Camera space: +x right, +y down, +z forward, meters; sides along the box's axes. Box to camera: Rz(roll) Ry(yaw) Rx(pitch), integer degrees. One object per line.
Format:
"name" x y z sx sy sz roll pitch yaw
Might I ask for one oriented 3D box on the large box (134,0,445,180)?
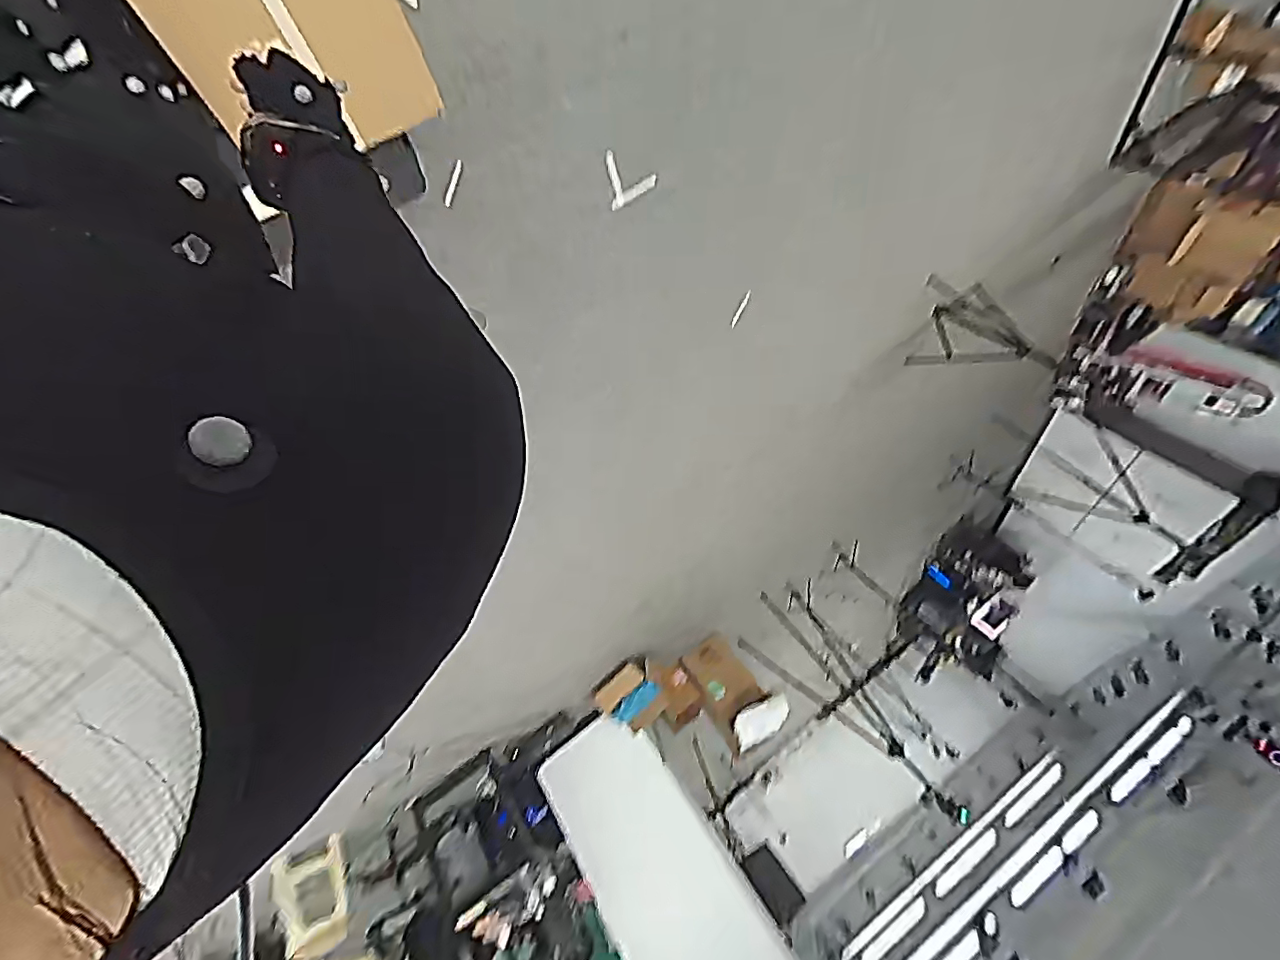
"large box" -0.566 -0.763 0.809 0.320 0.320 0.408 -29 145 -6
